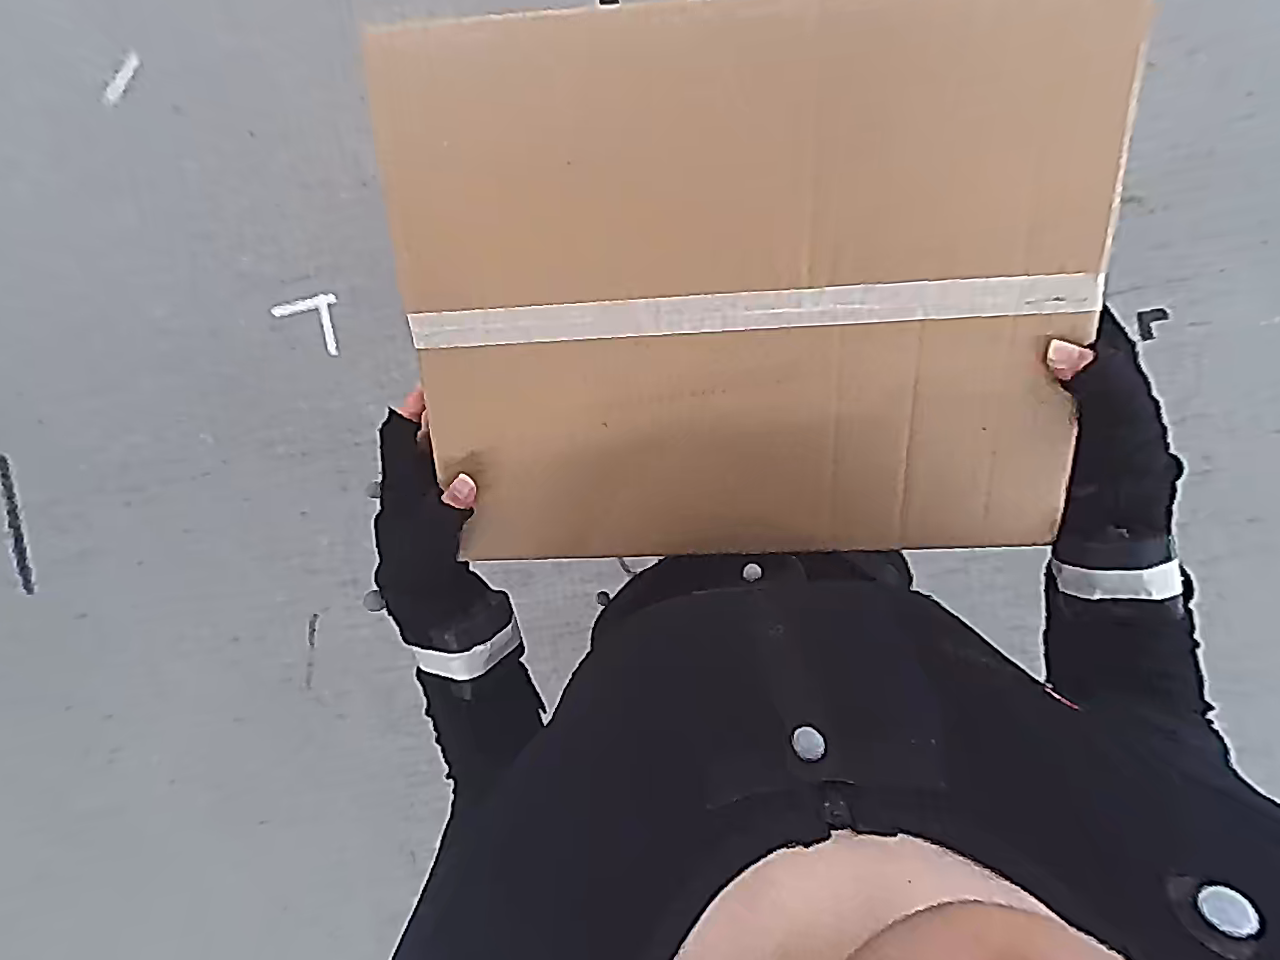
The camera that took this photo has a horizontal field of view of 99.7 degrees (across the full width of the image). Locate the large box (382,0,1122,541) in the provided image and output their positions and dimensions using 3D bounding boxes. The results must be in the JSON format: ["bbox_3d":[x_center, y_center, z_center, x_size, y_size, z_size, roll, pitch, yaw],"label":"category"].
[{"bbox_3d":[0.066,-0.155,0.474,0.408,0.320,0.320,-2,109,3],"label":"large box"}]
